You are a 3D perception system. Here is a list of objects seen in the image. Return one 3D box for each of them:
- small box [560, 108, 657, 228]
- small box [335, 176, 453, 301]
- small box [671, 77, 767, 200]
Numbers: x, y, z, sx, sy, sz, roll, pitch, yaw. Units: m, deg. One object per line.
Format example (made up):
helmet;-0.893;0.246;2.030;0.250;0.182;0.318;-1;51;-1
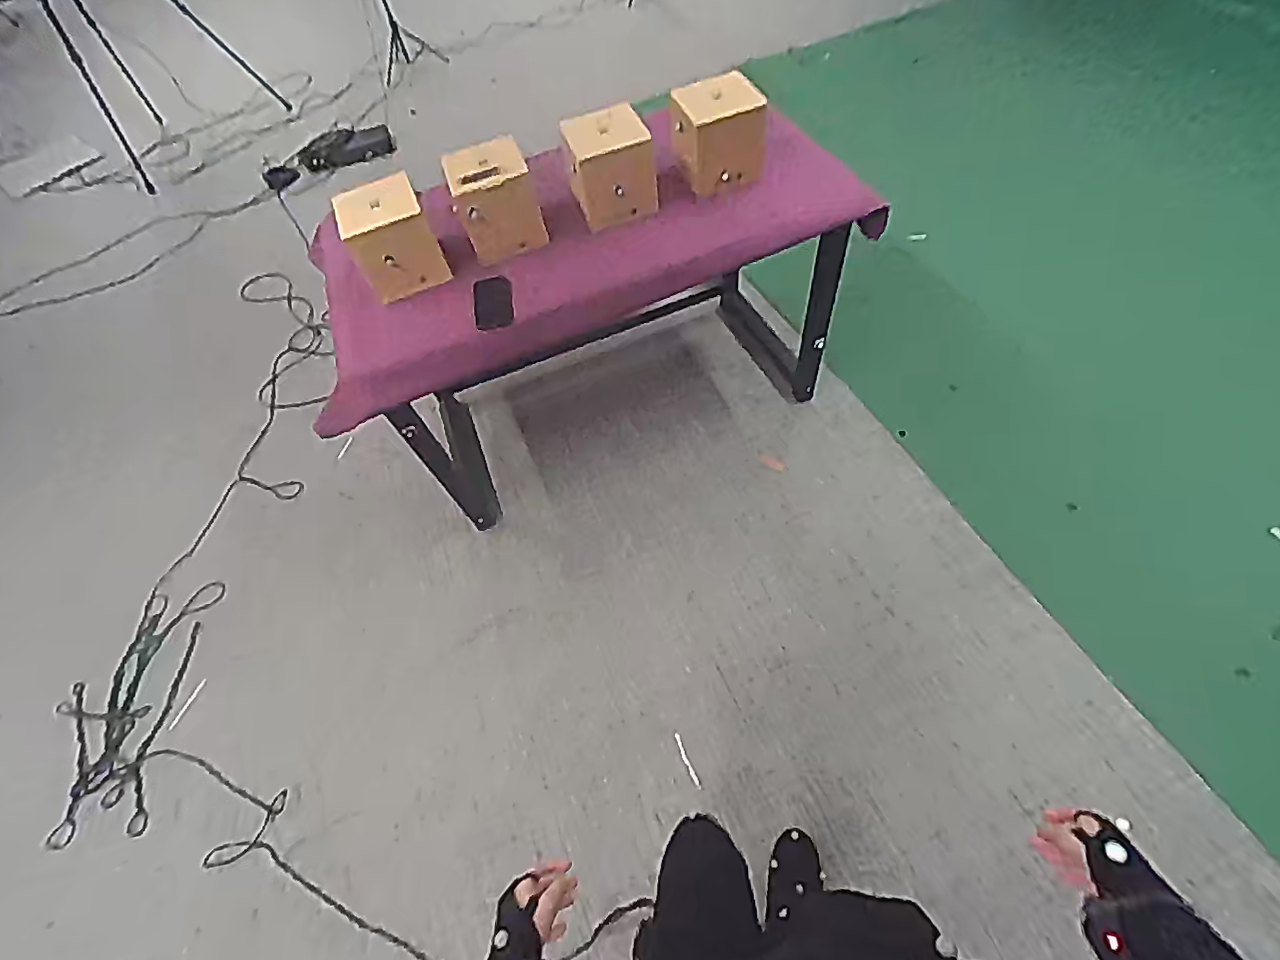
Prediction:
small box;-0.067;-0.699;1.228;0.168;0.176;0.179;-19;58;-5
small box;-0.530;-0.517;1.180;0.168;0.176;0.179;-25;58;-7
small box;0.178;-0.786;1.250;0.168;0.176;0.179;-18;58;-3
